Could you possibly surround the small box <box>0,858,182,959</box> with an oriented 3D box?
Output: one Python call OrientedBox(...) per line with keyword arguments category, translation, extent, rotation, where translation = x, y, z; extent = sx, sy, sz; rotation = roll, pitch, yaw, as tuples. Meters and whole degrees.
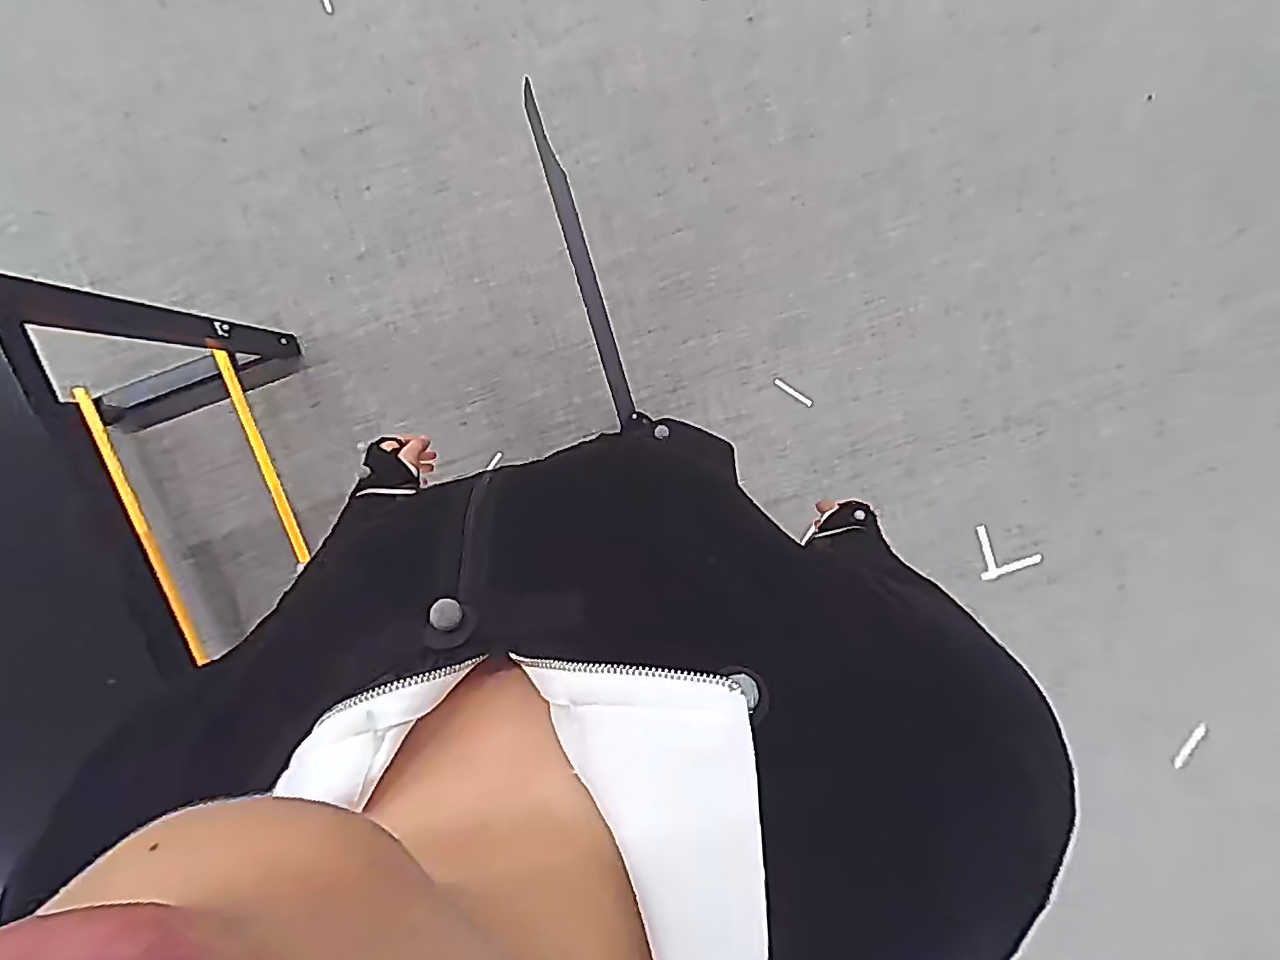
OrientedBox(category="small box", translation=(-0.801, 0.671, 0.743), extent=(0.179, 0.176, 0.168), rotation=(-15, 98, 1))
